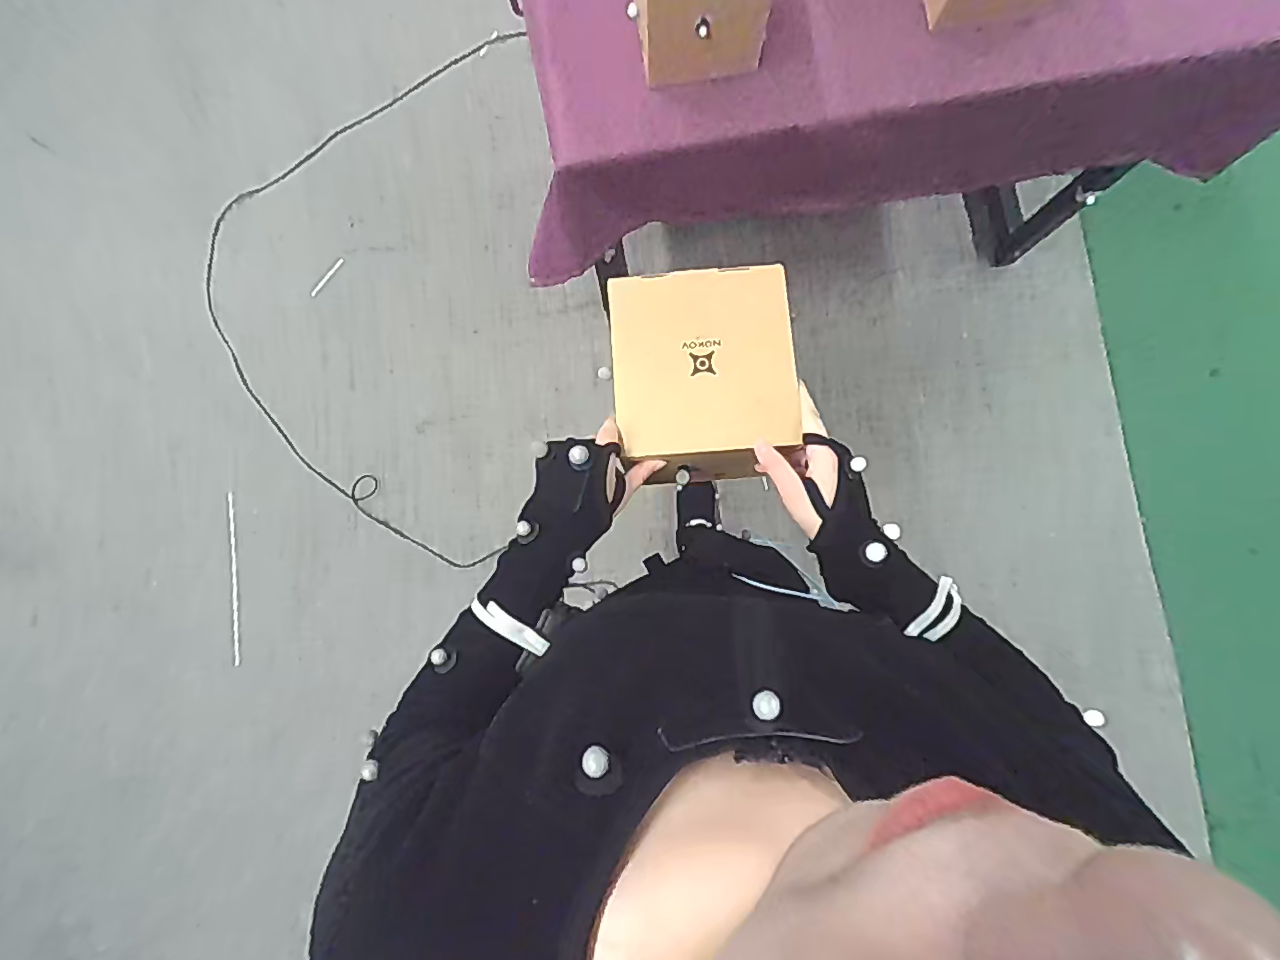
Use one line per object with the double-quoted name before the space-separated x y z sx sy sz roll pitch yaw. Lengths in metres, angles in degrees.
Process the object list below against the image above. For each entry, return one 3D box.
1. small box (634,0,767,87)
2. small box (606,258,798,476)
"small box" 0.083 -0.715 0.781 0.179 0.176 0.168 -8 83 1
"small box" 0.058 -0.103 0.568 0.168 0.176 0.179 -4 79 2
